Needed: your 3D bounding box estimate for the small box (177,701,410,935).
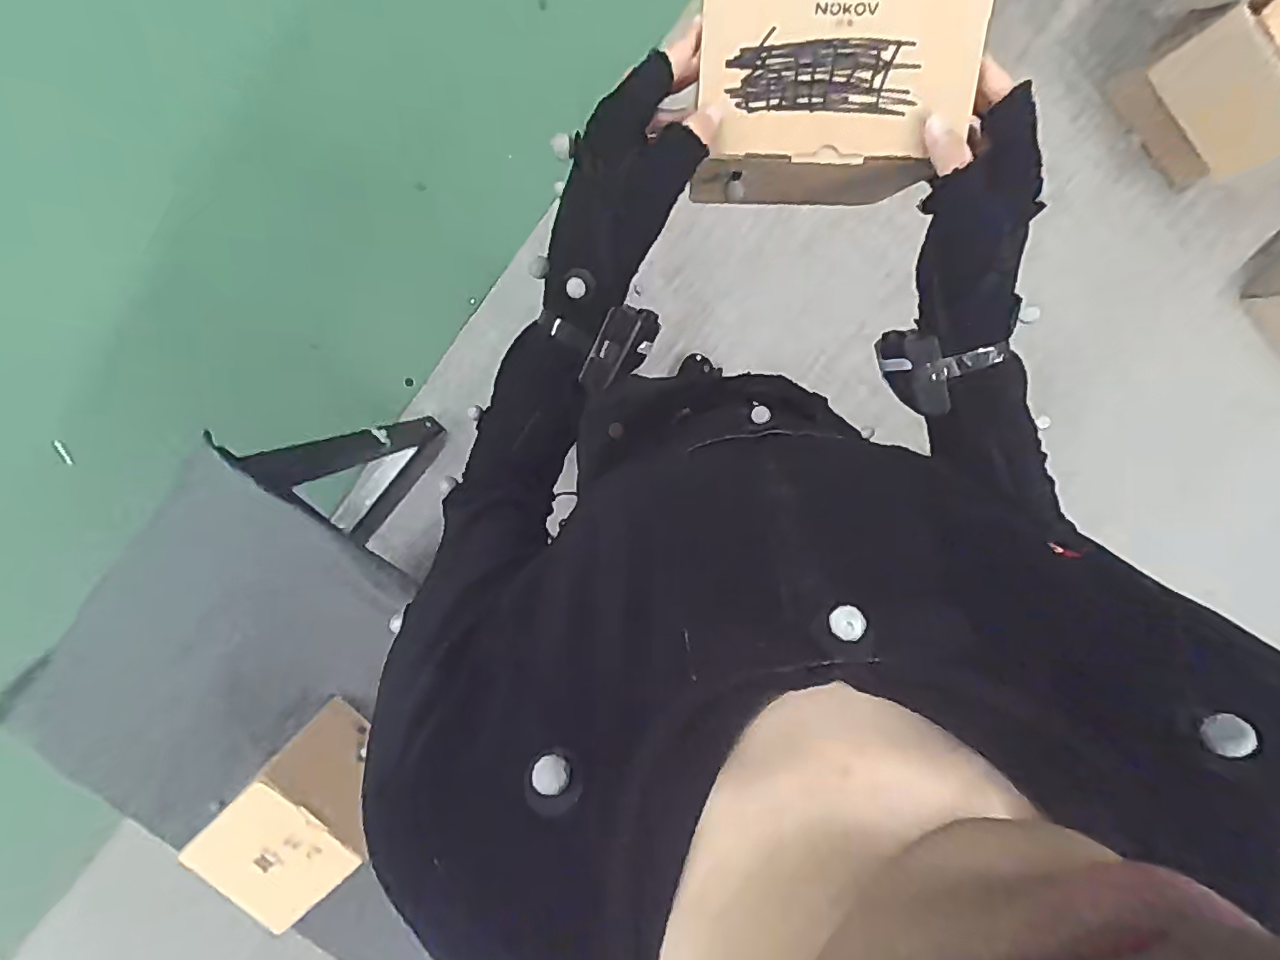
[{"bbox_3d":[-0.458,0.452,0.747,0.179,0.176,0.168,-43,97,8],"label":"small box"}]
